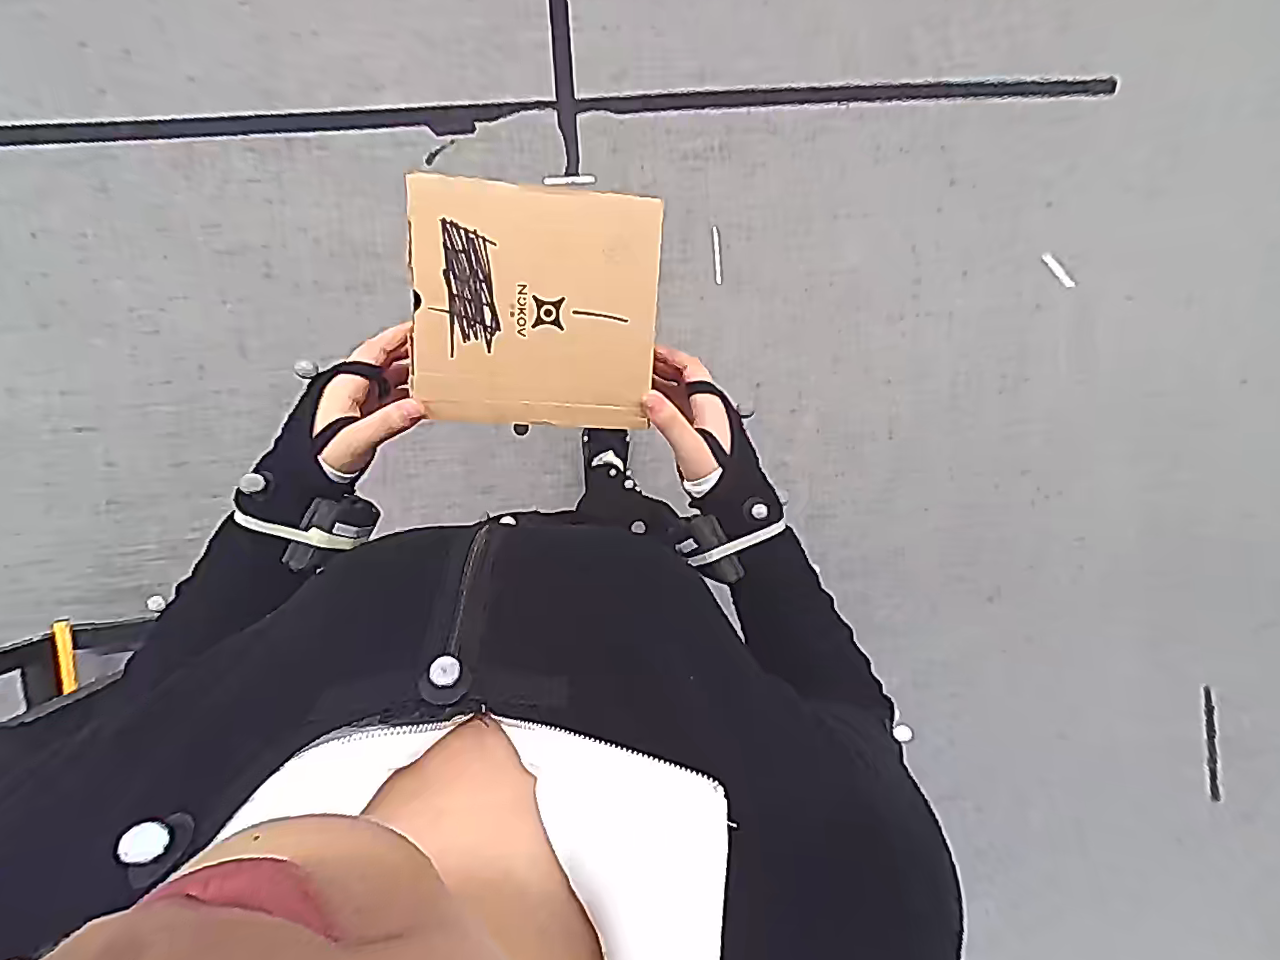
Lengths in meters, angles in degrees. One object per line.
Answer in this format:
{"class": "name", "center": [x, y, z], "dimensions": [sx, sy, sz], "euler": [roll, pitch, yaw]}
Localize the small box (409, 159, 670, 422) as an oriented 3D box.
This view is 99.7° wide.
{"class": "small box", "center": [-0.080, -0.143, 0.456], "dimensions": [0.179, 0.176, 0.168], "euler": [2, 102, -8]}
